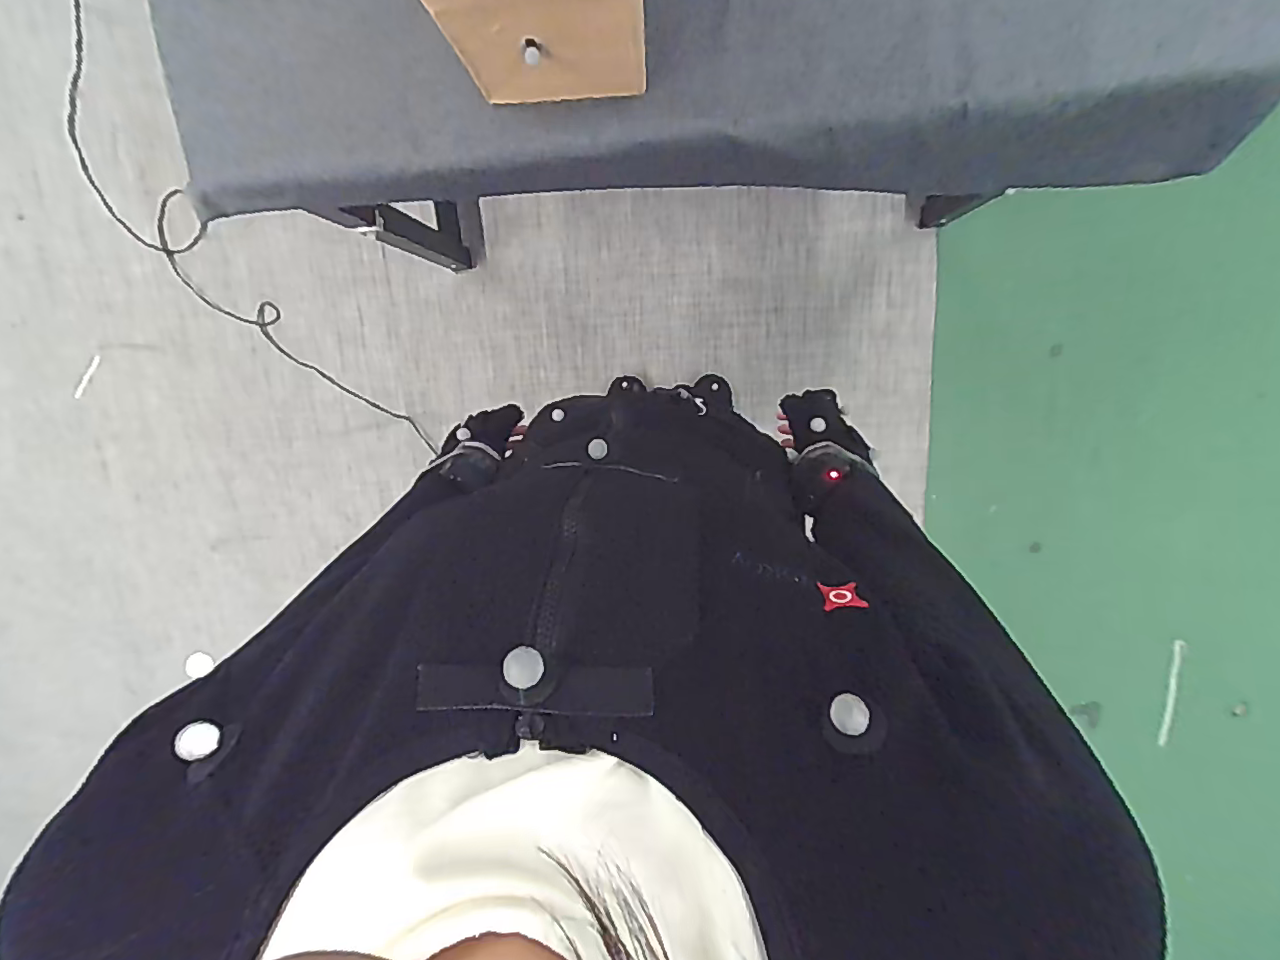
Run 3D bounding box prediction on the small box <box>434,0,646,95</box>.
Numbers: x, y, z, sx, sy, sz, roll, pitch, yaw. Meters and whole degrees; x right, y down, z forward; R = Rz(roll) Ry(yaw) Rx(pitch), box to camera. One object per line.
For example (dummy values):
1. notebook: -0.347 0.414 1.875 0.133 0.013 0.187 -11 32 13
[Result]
1. small box: -0.088 -0.496 0.511 0.179 0.176 0.168 -1 101 4
